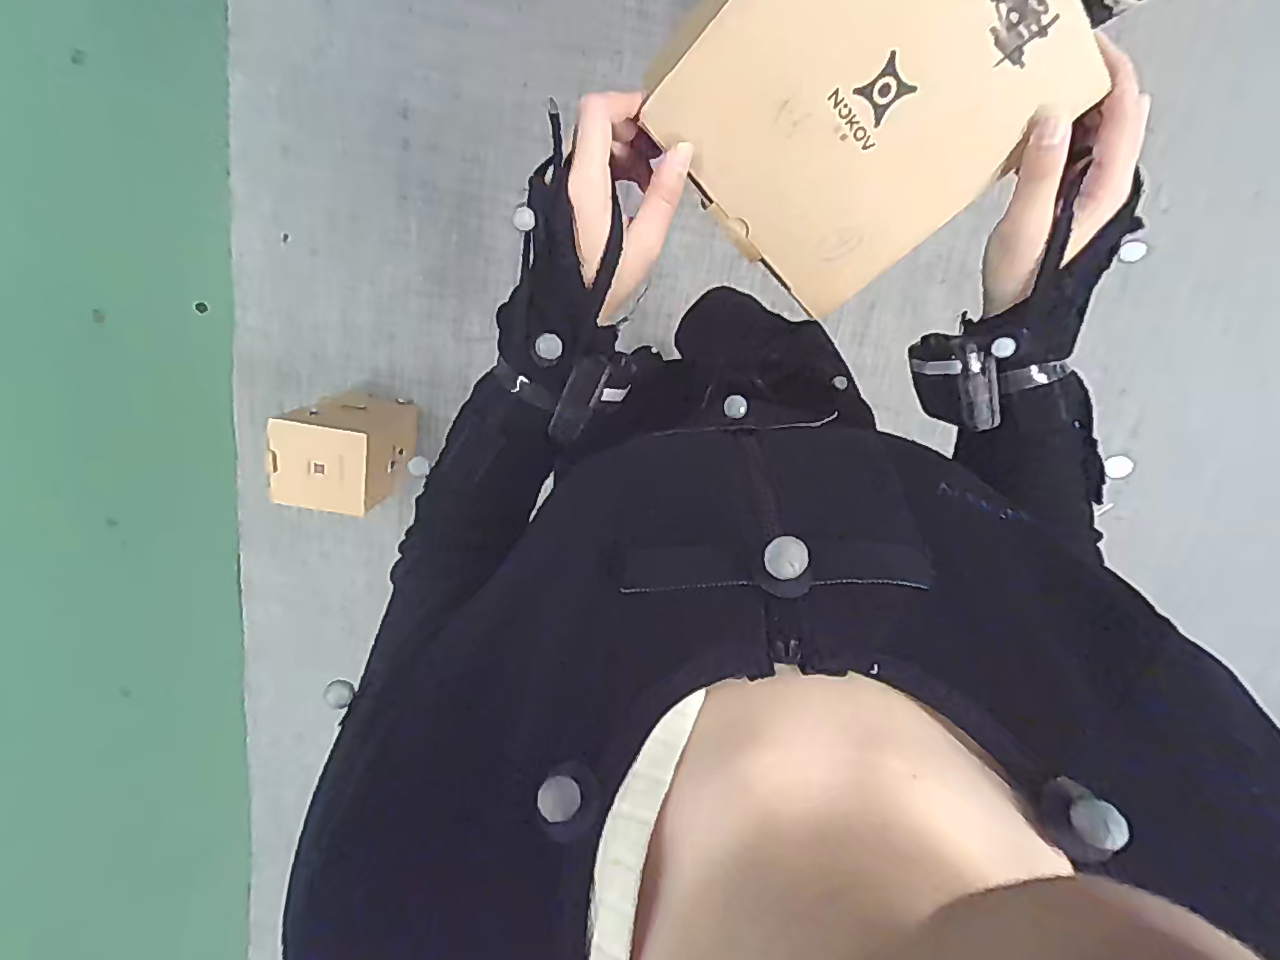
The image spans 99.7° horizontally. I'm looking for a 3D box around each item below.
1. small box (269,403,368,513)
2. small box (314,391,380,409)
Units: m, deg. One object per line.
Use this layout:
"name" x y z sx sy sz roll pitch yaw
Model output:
"small box" -0.593 -0.050 1.068 0.179 0.176 0.168 8 107 -6
"small box" -0.617 -0.095 1.223 0.168 0.176 0.179 12 106 -6
